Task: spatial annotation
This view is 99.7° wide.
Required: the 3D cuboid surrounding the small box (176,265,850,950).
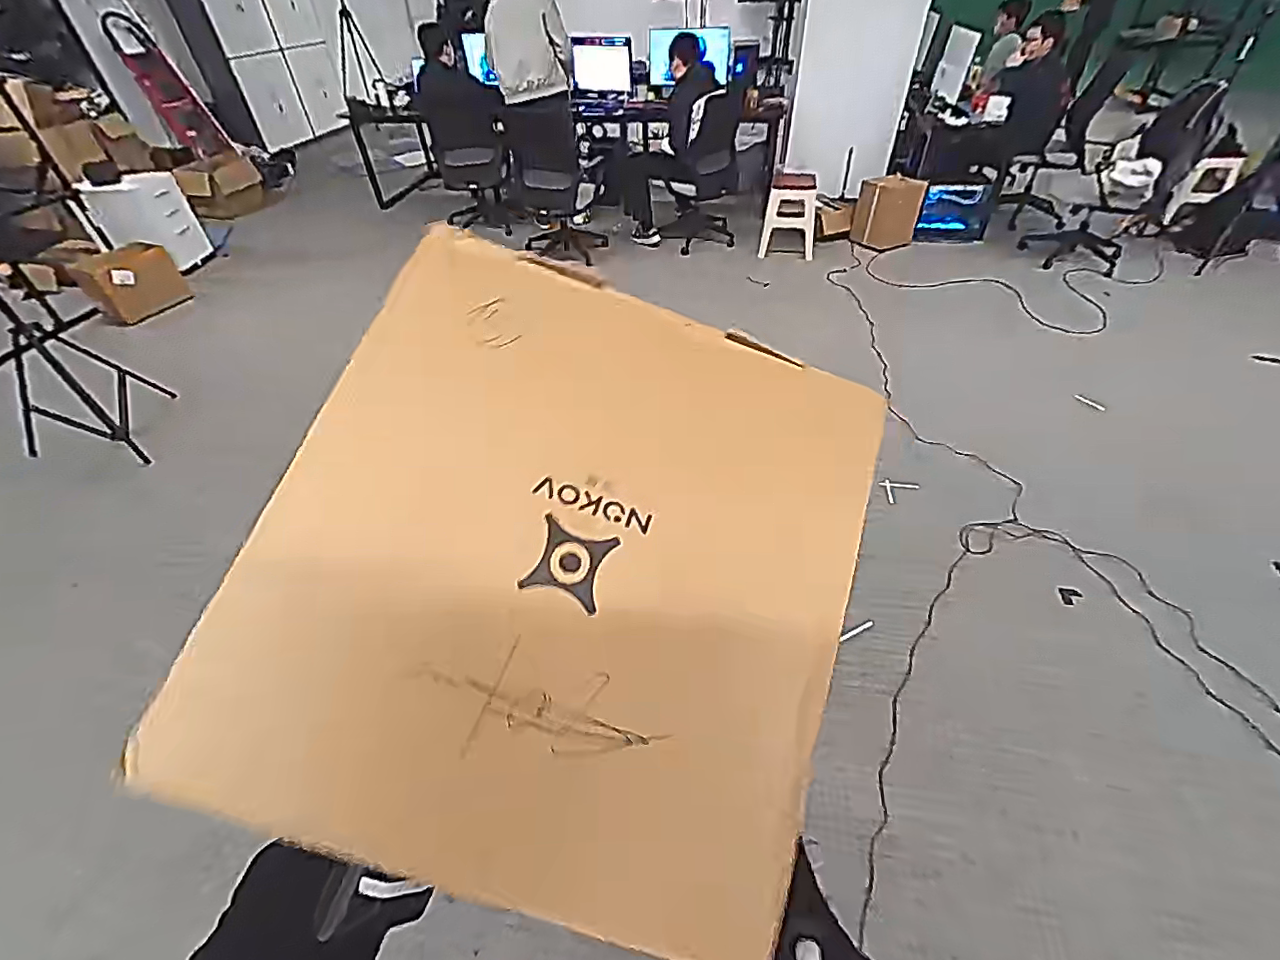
[{"bbox_3d":[-0.034,0.048,0.246,0.168,0.176,0.179,18,73,-3],"label":"small box"}]
